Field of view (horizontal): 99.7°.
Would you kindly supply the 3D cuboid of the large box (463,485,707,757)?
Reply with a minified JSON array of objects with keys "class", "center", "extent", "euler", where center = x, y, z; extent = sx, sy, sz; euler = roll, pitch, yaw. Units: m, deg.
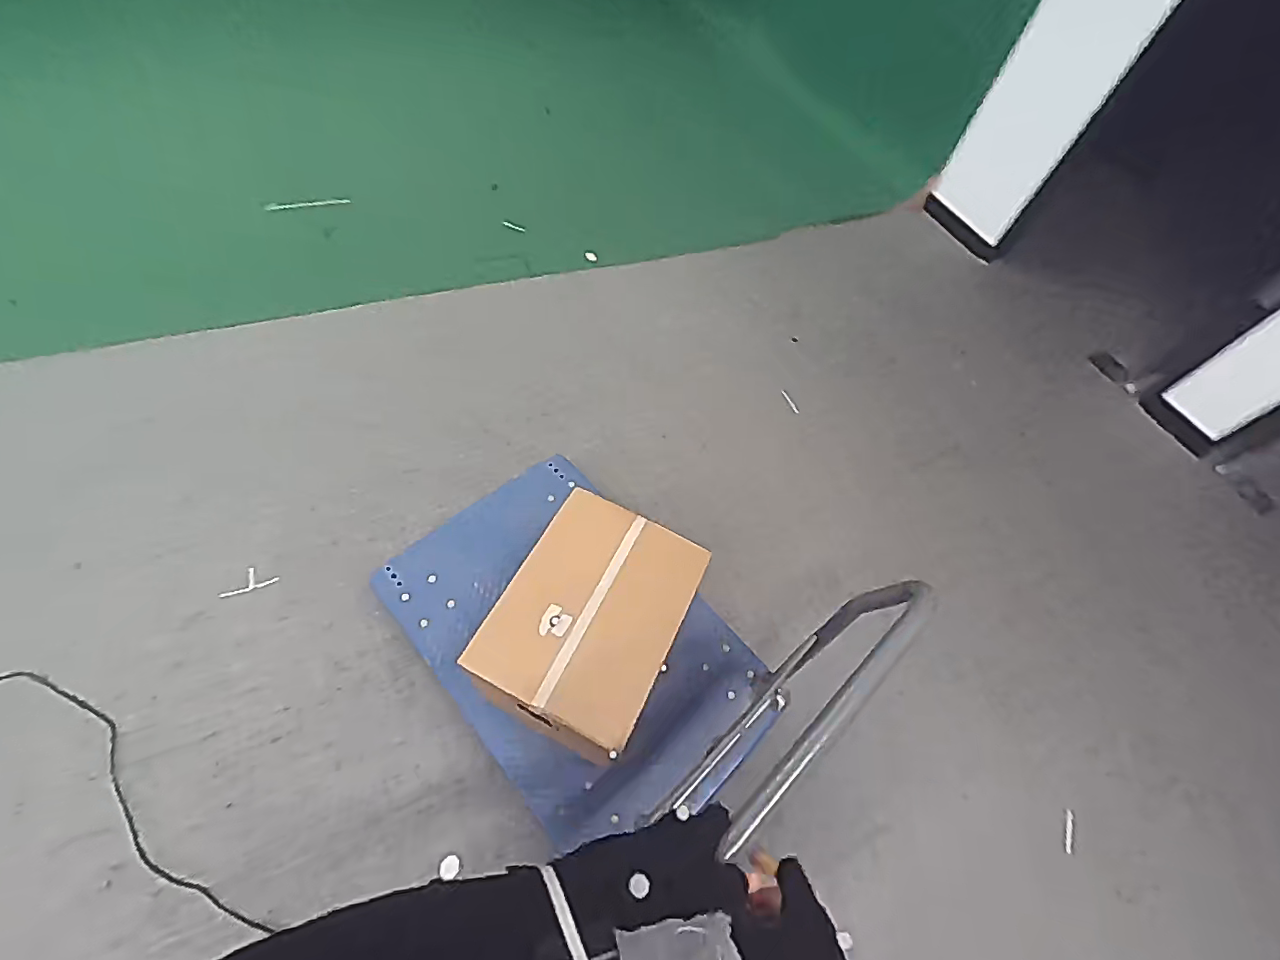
[{"class":"large box","center":[-0.102,0.294,1.121],"extent":[0.320,0.320,0.408],"euler":[26,59,8]}]
